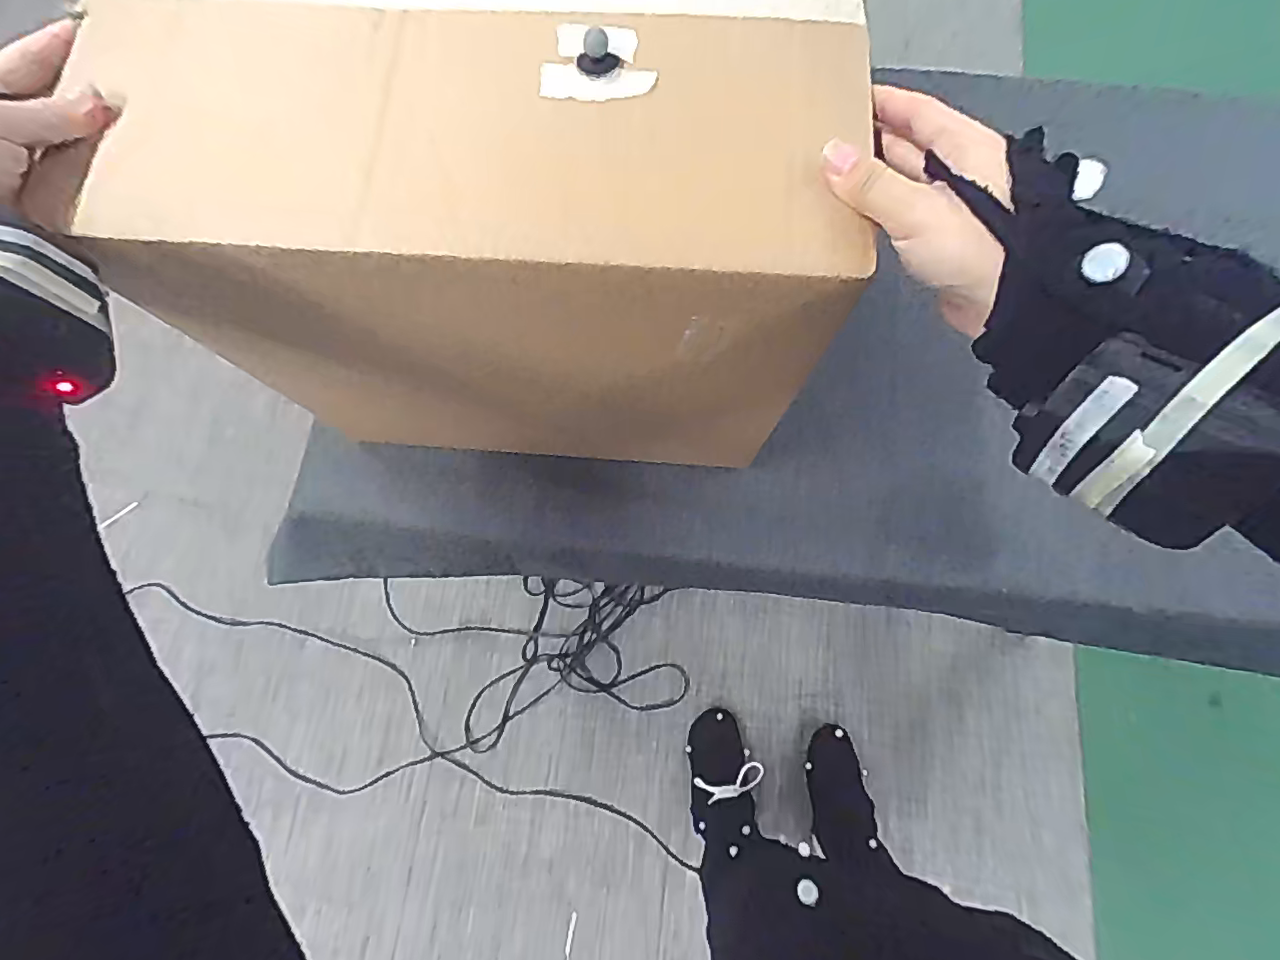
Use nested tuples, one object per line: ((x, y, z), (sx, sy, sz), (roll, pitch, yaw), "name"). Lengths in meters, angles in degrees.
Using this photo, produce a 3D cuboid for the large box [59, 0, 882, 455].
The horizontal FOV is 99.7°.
((-0.077, -0.217, 0.440), (0.408, 0.320, 0.320), (4, 76, 0), "large box")
